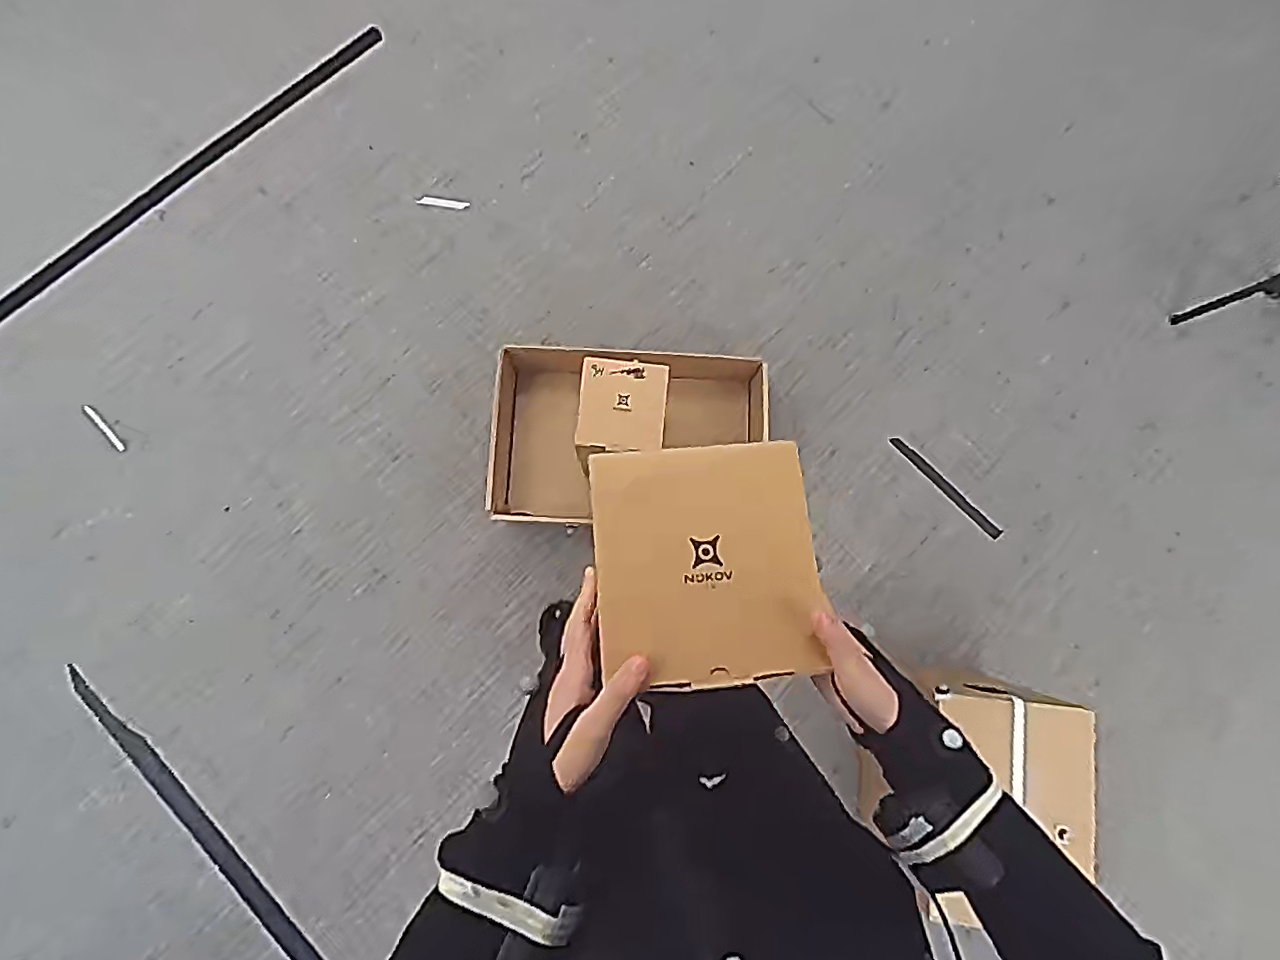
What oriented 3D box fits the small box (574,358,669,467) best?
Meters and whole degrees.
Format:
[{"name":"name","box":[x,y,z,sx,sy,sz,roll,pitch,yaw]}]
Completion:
[{"name":"small box","box":[-0.037,-0.127,1.098,0.168,0.176,0.179,7,81,-2]}]
